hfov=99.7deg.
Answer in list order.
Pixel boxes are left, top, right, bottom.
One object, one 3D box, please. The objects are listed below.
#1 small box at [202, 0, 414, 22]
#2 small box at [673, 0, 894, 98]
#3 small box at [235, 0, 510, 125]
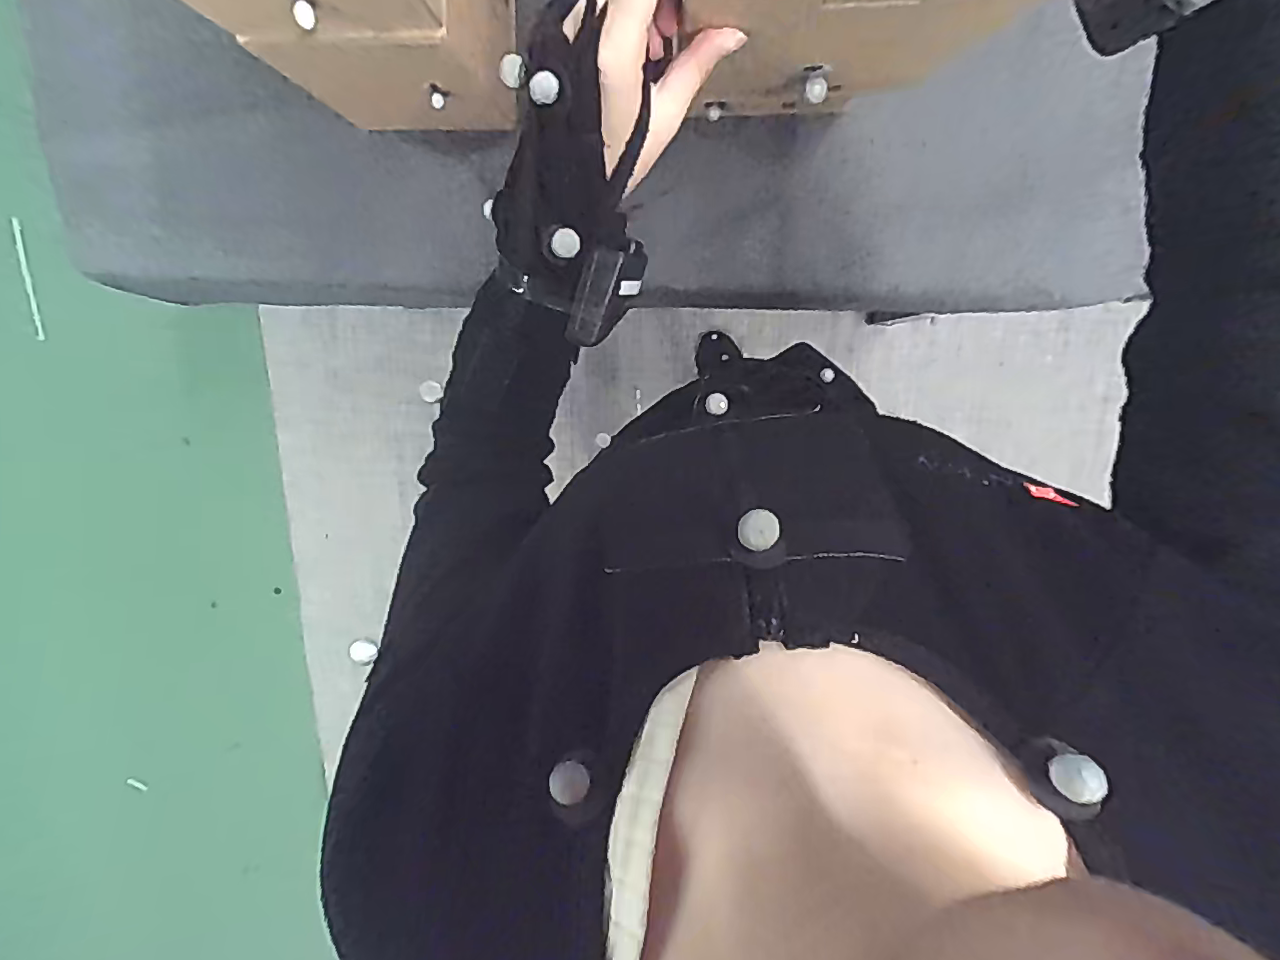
[{"bbox_3d":[-0.239,-0.412,0.317,0.179,0.176,0.168,2,102,5],"label":"small box"},{"bbox_3d":[0.115,-0.440,0.441,0.168,0.176,0.179,2,102,5],"label":"small box"},{"bbox_3d":[-0.221,-0.440,0.478,0.179,0.176,0.168,3,102,6],"label":"small box"}]
